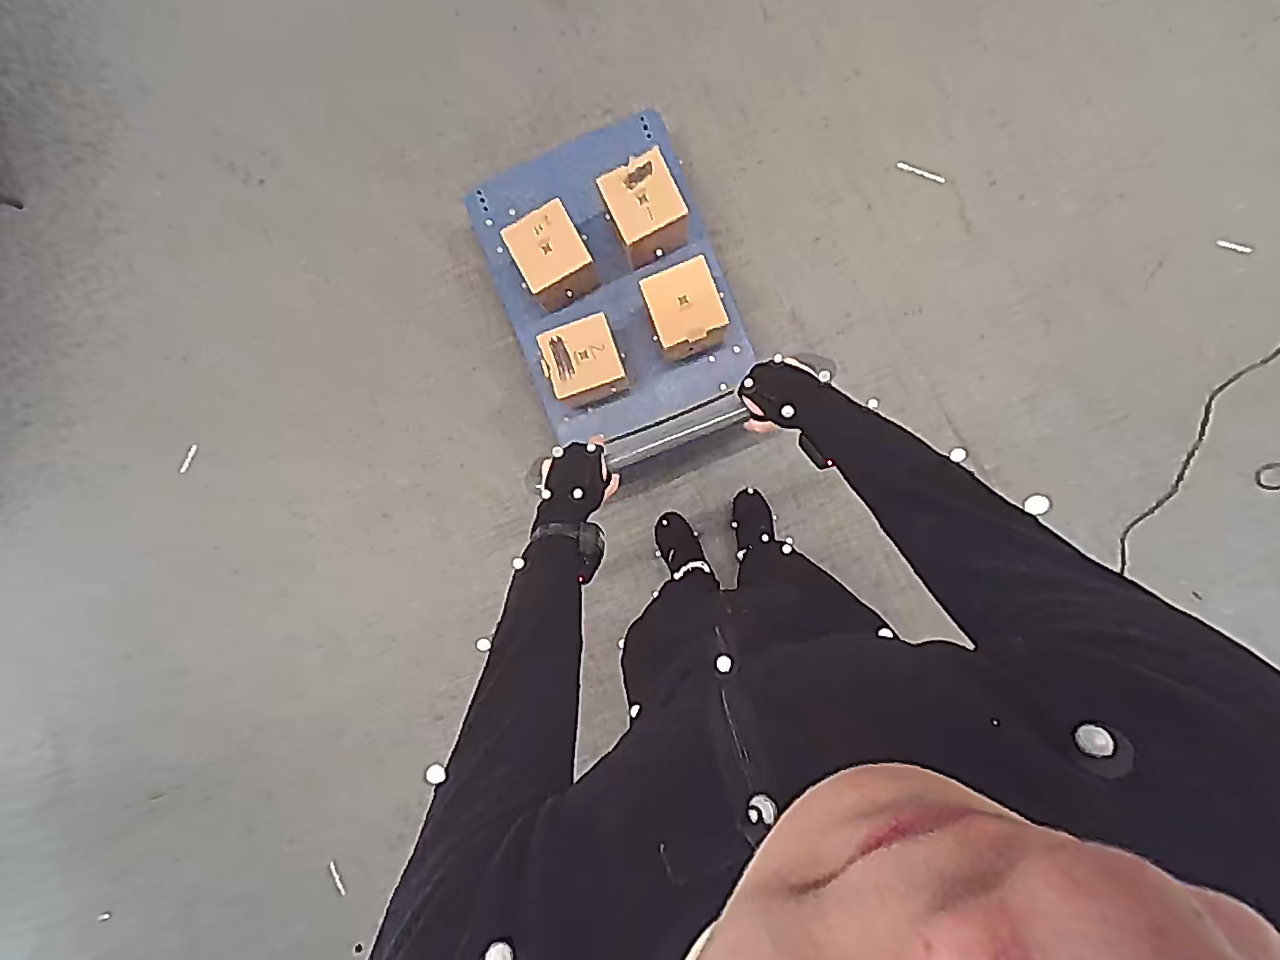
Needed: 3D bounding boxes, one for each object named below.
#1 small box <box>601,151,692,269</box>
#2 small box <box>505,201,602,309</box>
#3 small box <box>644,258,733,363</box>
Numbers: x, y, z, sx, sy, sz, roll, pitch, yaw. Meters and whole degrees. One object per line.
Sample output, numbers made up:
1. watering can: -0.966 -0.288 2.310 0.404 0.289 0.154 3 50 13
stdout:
1. small box: 0.020 -0.664 1.353 0.168 0.176 0.179 -26 89 5
2. small box: -0.210 -0.554 1.370 0.168 0.176 0.179 -28 89 3
3. small box: 0.118 -0.414 1.349 0.168 0.176 0.179 -21 89 4
